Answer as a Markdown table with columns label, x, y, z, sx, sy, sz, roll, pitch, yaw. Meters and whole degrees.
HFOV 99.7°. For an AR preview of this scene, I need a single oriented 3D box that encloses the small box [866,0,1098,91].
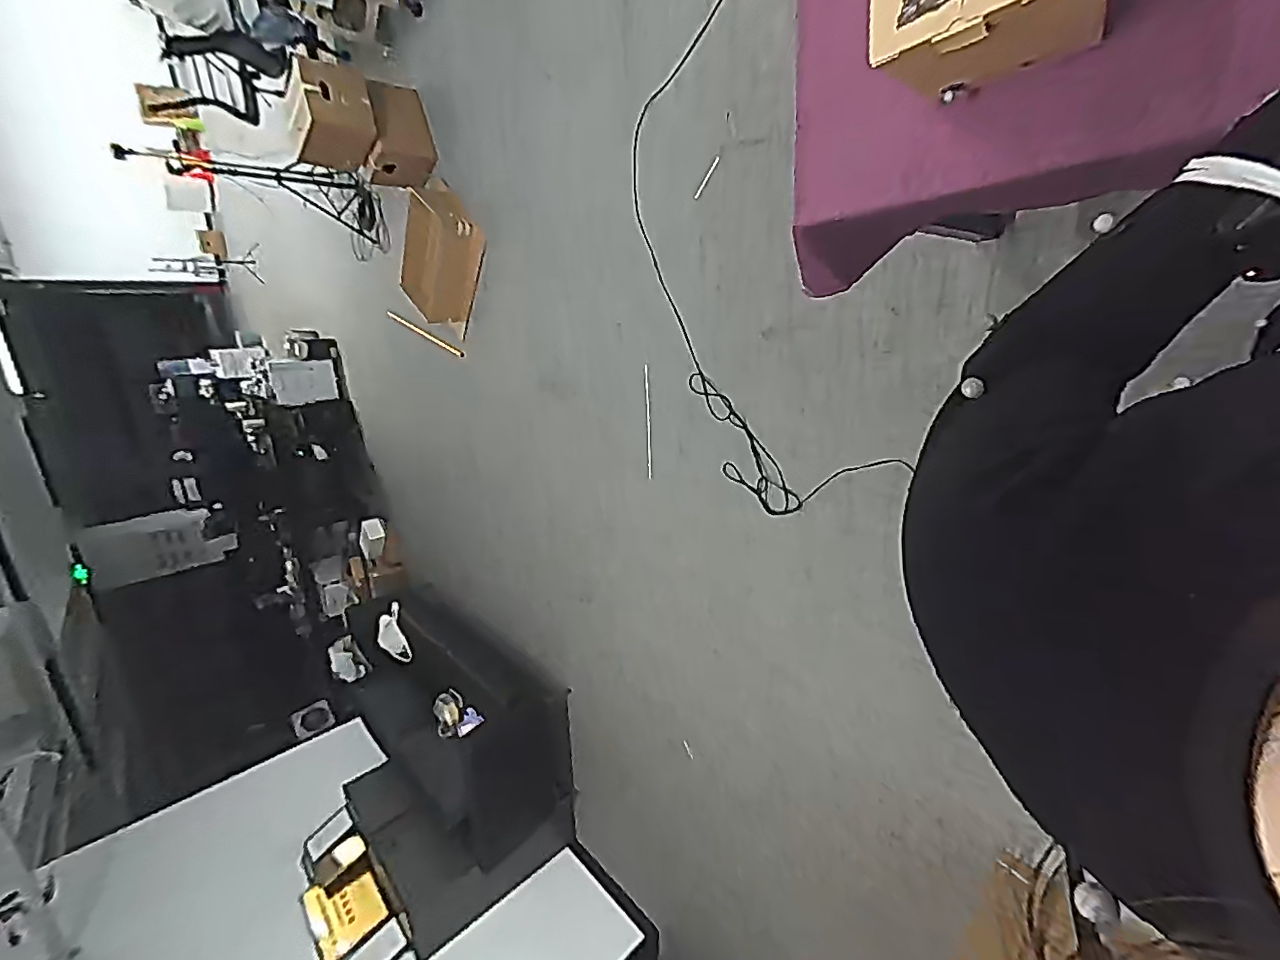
| label | x | y | z | sx | sy | sz | roll | pitch | yaw |
| --- | --- | --- | --- | --- | --- | --- | --- | --- | --- |
| small box | 0.346 | -0.522 | 0.540 | 0.168 | 0.176 | 0.179 | 11 | 110 | 46 |
